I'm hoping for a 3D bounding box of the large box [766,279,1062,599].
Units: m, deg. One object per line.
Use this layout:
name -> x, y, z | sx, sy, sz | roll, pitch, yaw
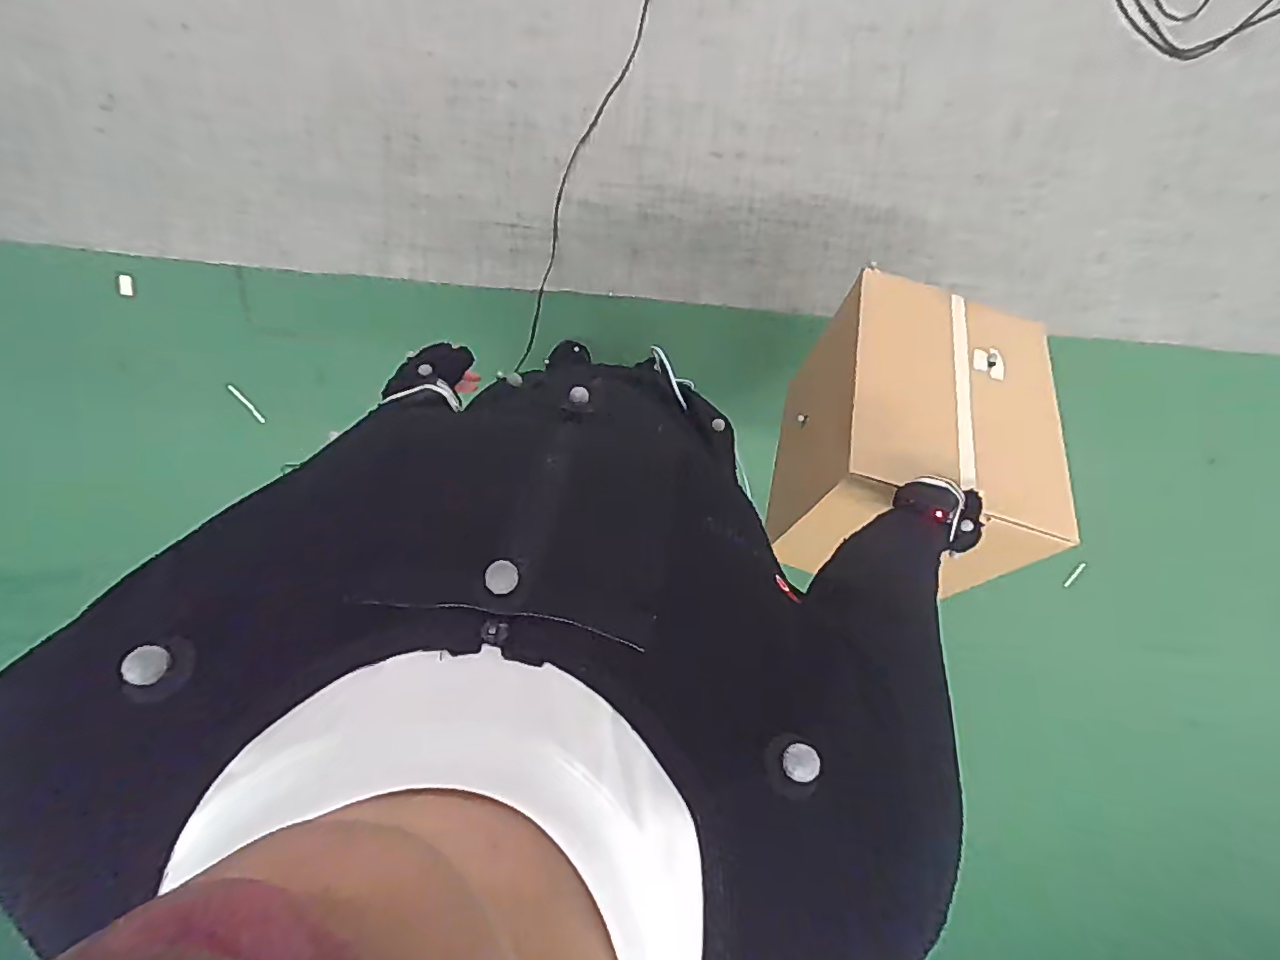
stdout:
large box -> 0.432, -0.058, 0.935 | 0.320, 0.320, 0.408 | 18, 59, -2
